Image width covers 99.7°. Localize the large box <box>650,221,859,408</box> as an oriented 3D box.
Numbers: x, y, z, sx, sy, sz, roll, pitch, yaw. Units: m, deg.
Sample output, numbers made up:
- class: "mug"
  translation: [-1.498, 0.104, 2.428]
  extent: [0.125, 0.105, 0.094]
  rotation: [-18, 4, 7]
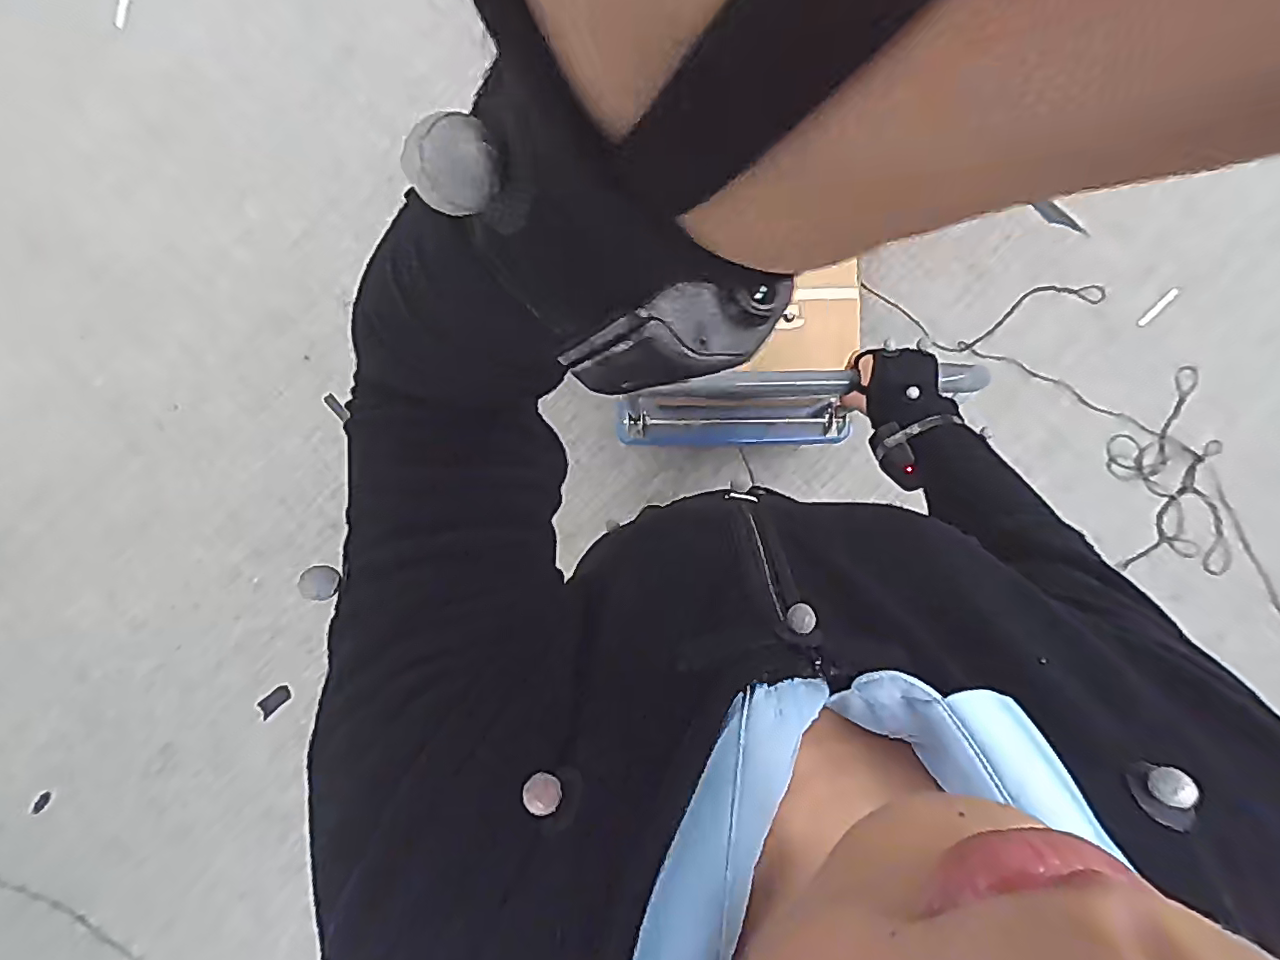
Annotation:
- class: "large box"
  translation: [0.228, -0.346, 1.212]
  extent: [0.408, 0.320, 0.320]
  rotation: [0, 87, 2]
